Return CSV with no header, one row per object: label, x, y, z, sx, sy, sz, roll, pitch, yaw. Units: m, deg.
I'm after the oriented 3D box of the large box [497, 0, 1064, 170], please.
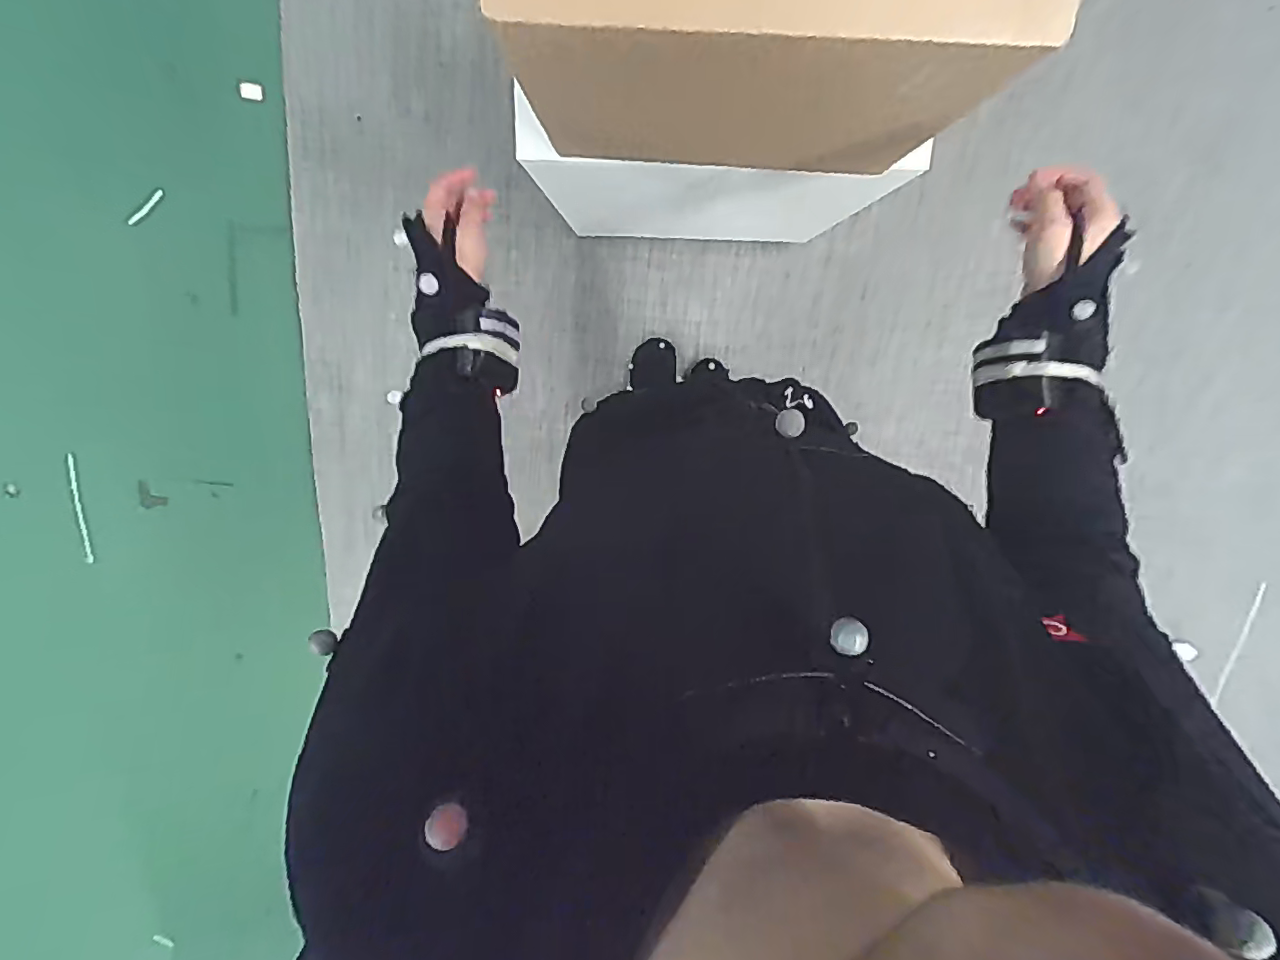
large box,0.100,-0.498,0.486,0.408,0.320,0.320,3,105,-1
